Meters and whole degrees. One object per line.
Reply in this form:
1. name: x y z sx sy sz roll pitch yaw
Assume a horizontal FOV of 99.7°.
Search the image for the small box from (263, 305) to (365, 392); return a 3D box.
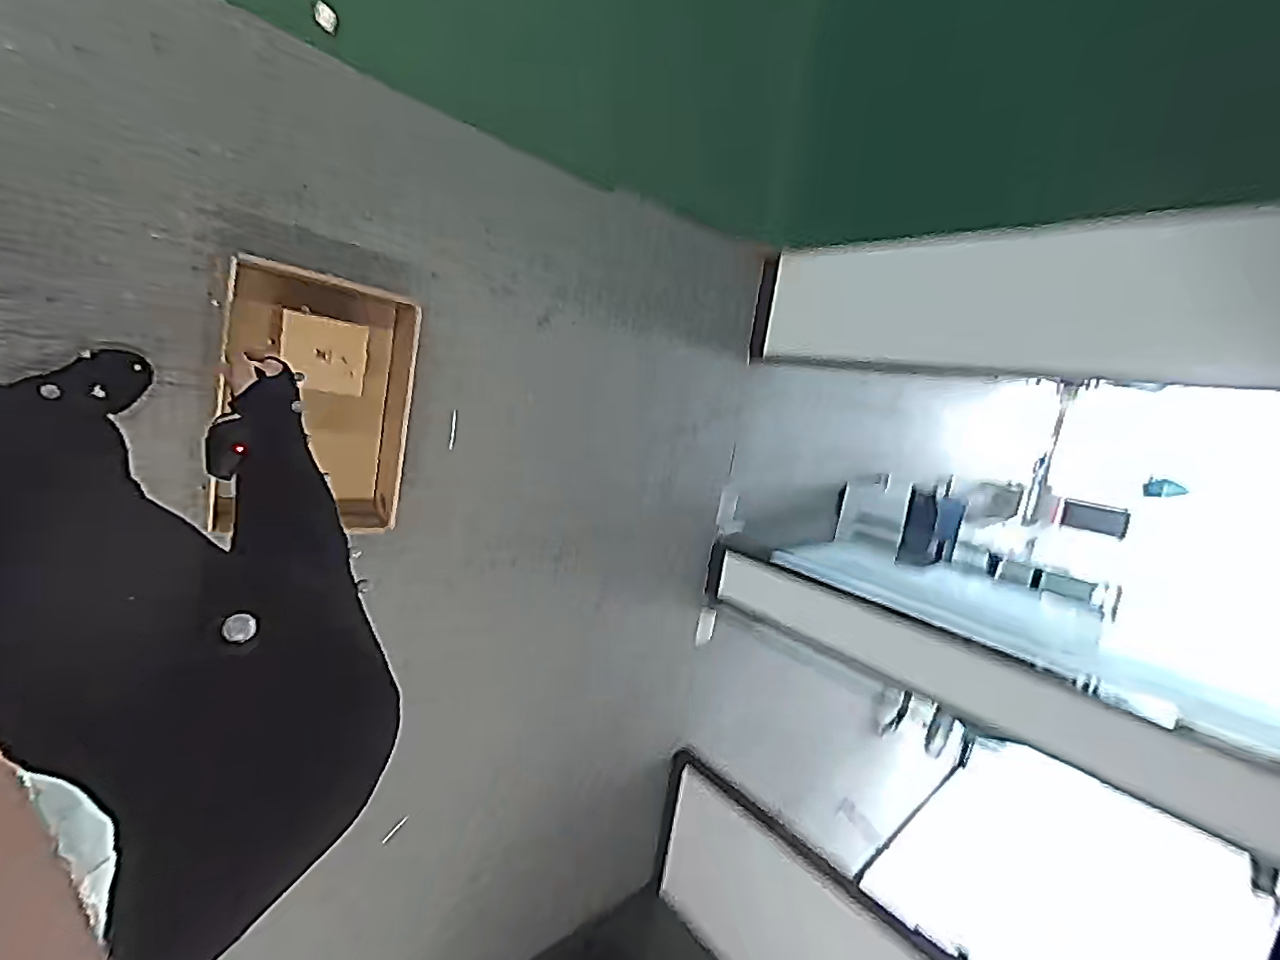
1. small box: -0.789 -0.315 1.302 0.179 0.176 0.168 4 101 -44
